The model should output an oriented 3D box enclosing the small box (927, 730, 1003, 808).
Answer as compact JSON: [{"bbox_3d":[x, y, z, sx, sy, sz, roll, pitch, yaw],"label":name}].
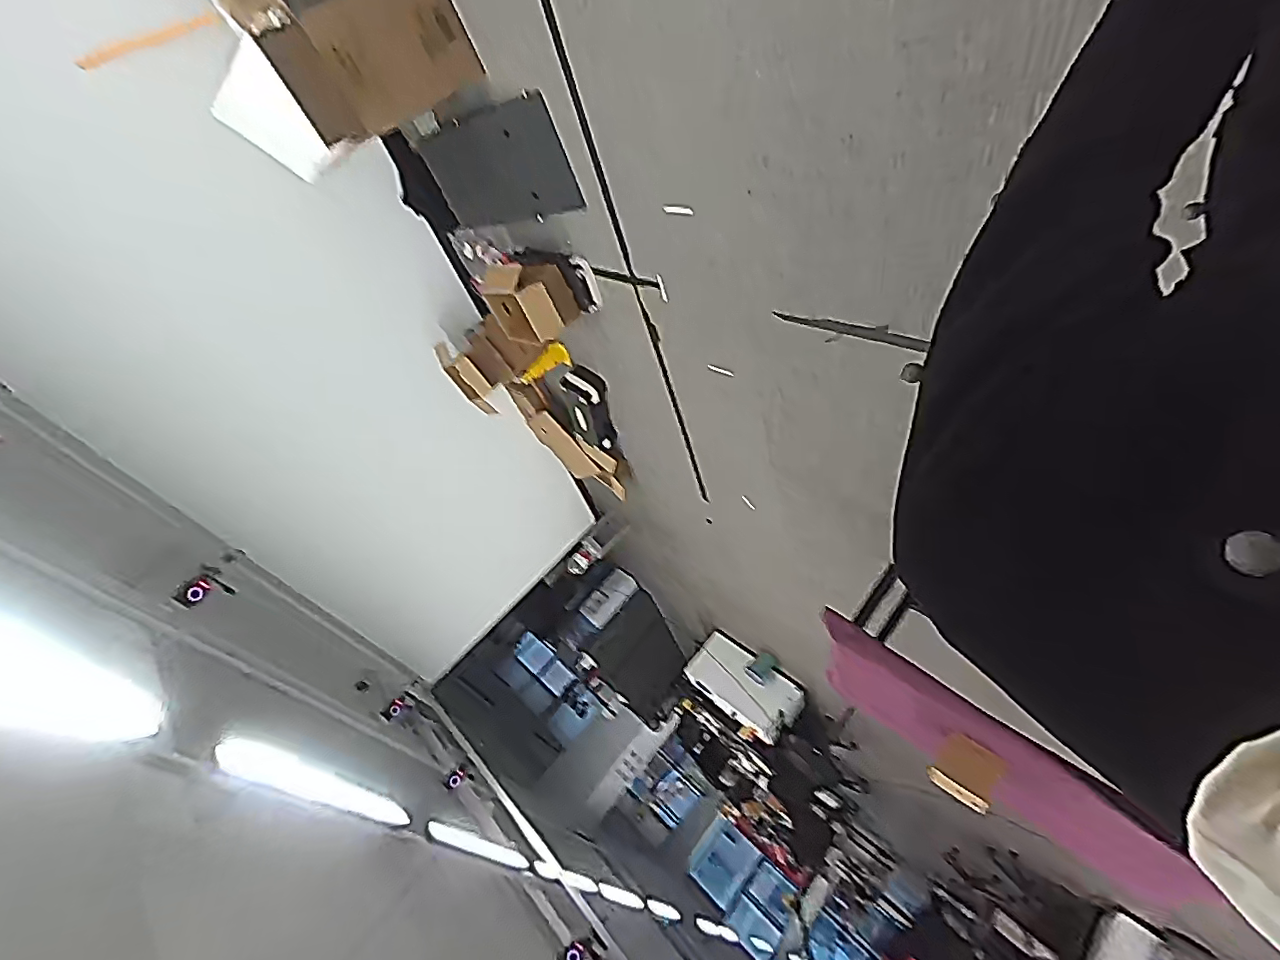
[{"bbox_3d":[1.174,1.039,1.961,0.179,0.176,0.168,29,156,41],"label":"small box"}]
